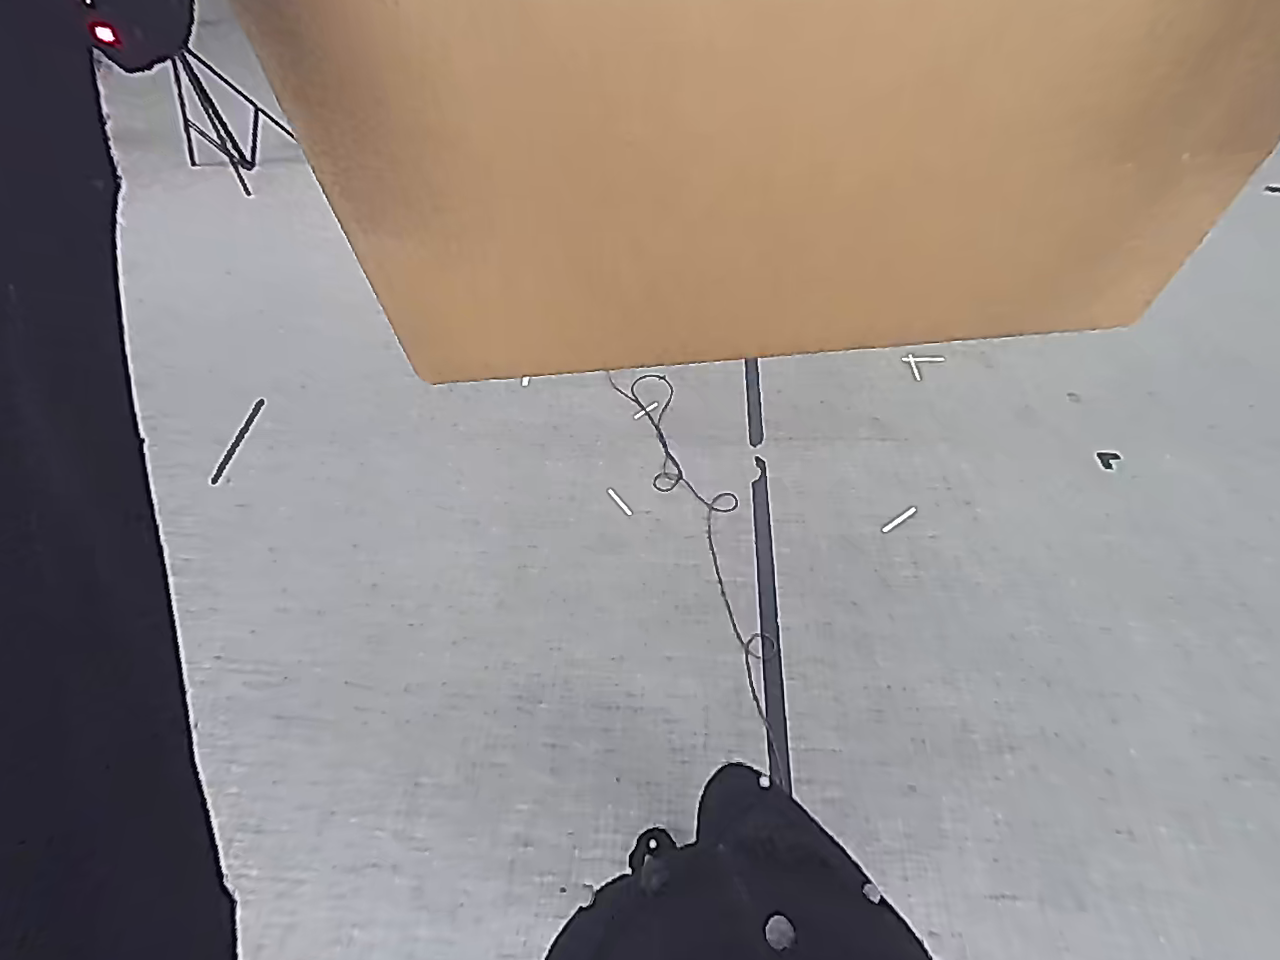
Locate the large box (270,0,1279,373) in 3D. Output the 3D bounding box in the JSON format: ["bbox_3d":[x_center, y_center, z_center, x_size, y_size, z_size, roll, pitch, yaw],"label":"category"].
[{"bbox_3d":[0.055,-0.286,0.293,0.408,0.320,0.320,-5,52,-1],"label":"large box"}]
